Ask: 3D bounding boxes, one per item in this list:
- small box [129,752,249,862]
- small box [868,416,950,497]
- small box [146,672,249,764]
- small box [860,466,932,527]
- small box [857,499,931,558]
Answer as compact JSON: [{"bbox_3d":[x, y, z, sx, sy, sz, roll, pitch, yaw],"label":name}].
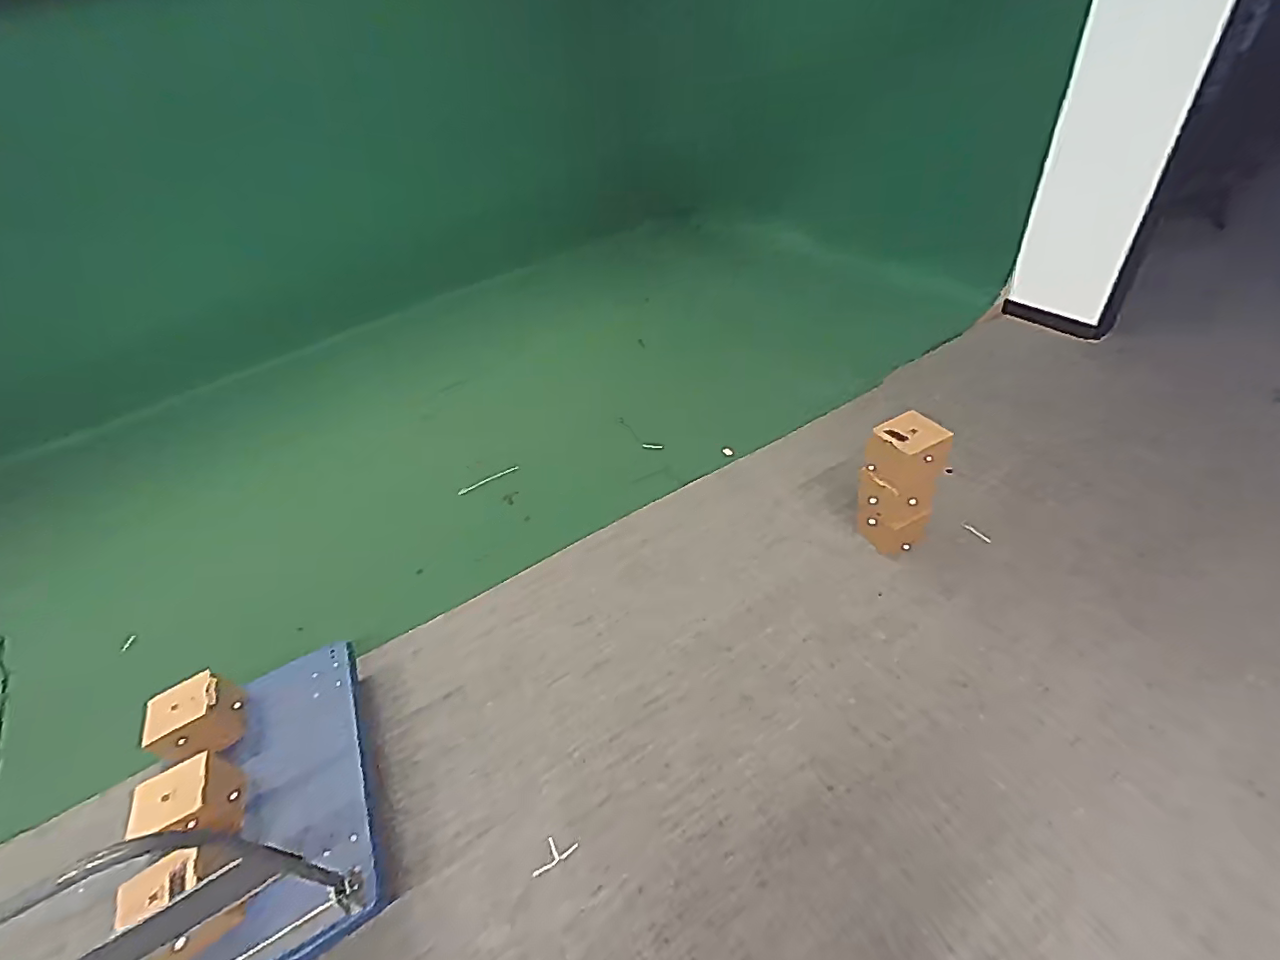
[{"bbox_3d":[-1.196,0.880,1.448,0.179,0.176,0.168,-25,43,-15],"label":"small box"},{"bbox_3d":[0.870,-0.073,1.767,0.179,0.176,0.168,-24,43,-12],"label":"small box"},{"bbox_3d":[-1.333,0.728,1.640,0.179,0.176,0.168,-27,45,-15],"label":"small box"},{"bbox_3d":[0.885,0.032,1.870,0.179,0.176,0.168,-25,43,-10],"label":"small box"},{"bbox_3d":[0.919,0.152,1.976,0.168,0.176,0.179,-24,43,-10],"label":"small box"}]
